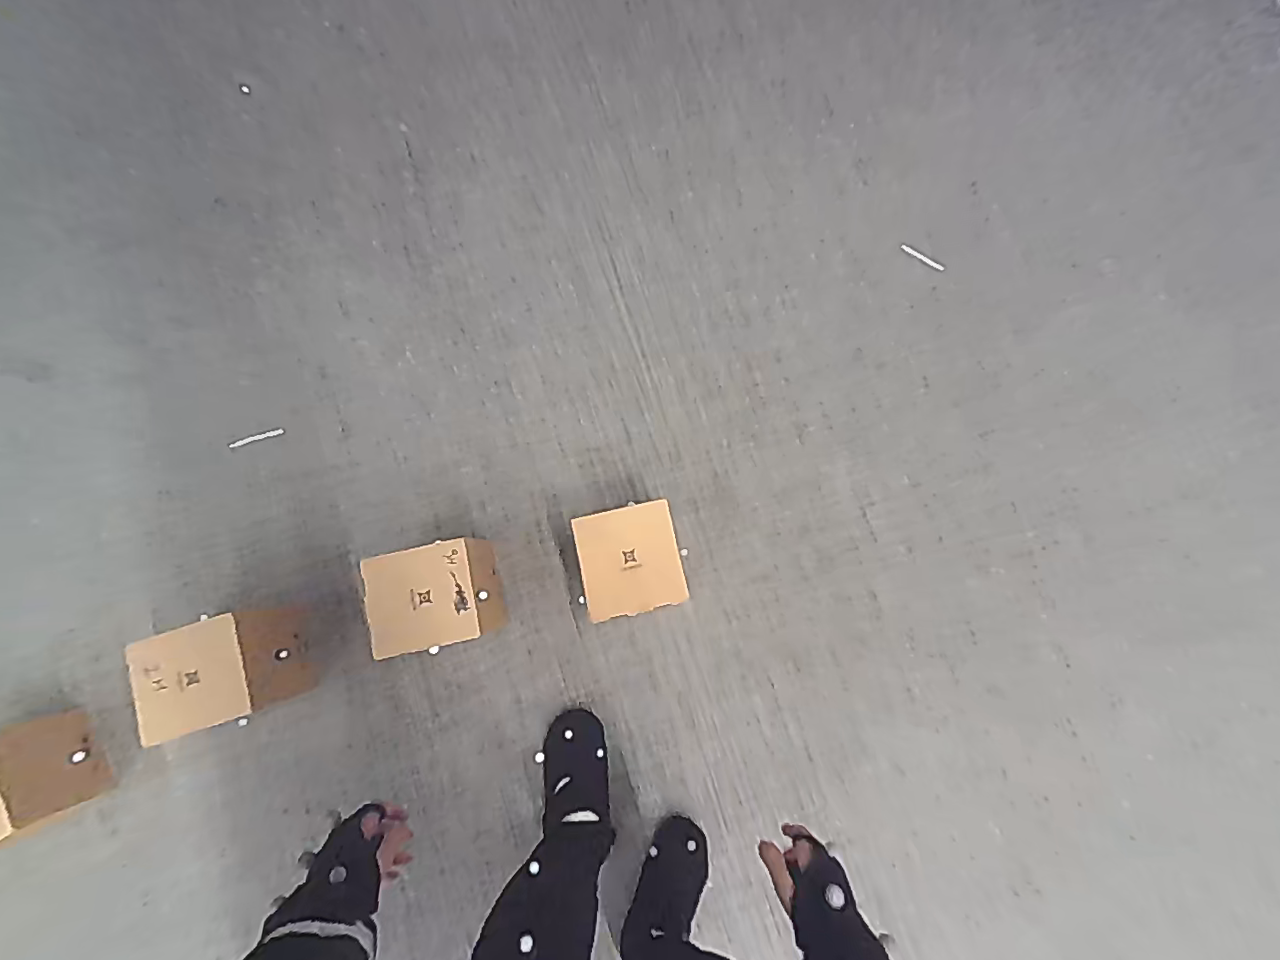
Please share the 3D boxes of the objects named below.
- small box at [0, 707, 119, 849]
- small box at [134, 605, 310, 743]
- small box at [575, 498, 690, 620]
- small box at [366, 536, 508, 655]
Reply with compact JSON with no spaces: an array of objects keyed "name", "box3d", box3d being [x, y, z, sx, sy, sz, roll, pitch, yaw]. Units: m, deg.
[{"name":"small box","box3d":[-1.054,0.514,0.906,0.179,0.176,0.168,-29,82,-5]},{"name":"small box","box3d":[-0.706,0.323,0.937,0.179,0.176,0.168,-17,81,-3]},{"name":"small box","box3d":[-0.016,0.142,0.971,0.168,0.176,0.179,-12,82,-2]},{"name":"small box","box3d":[-0.351,0.200,0.959,0.179,0.176,0.168,-12,82,0]}]
